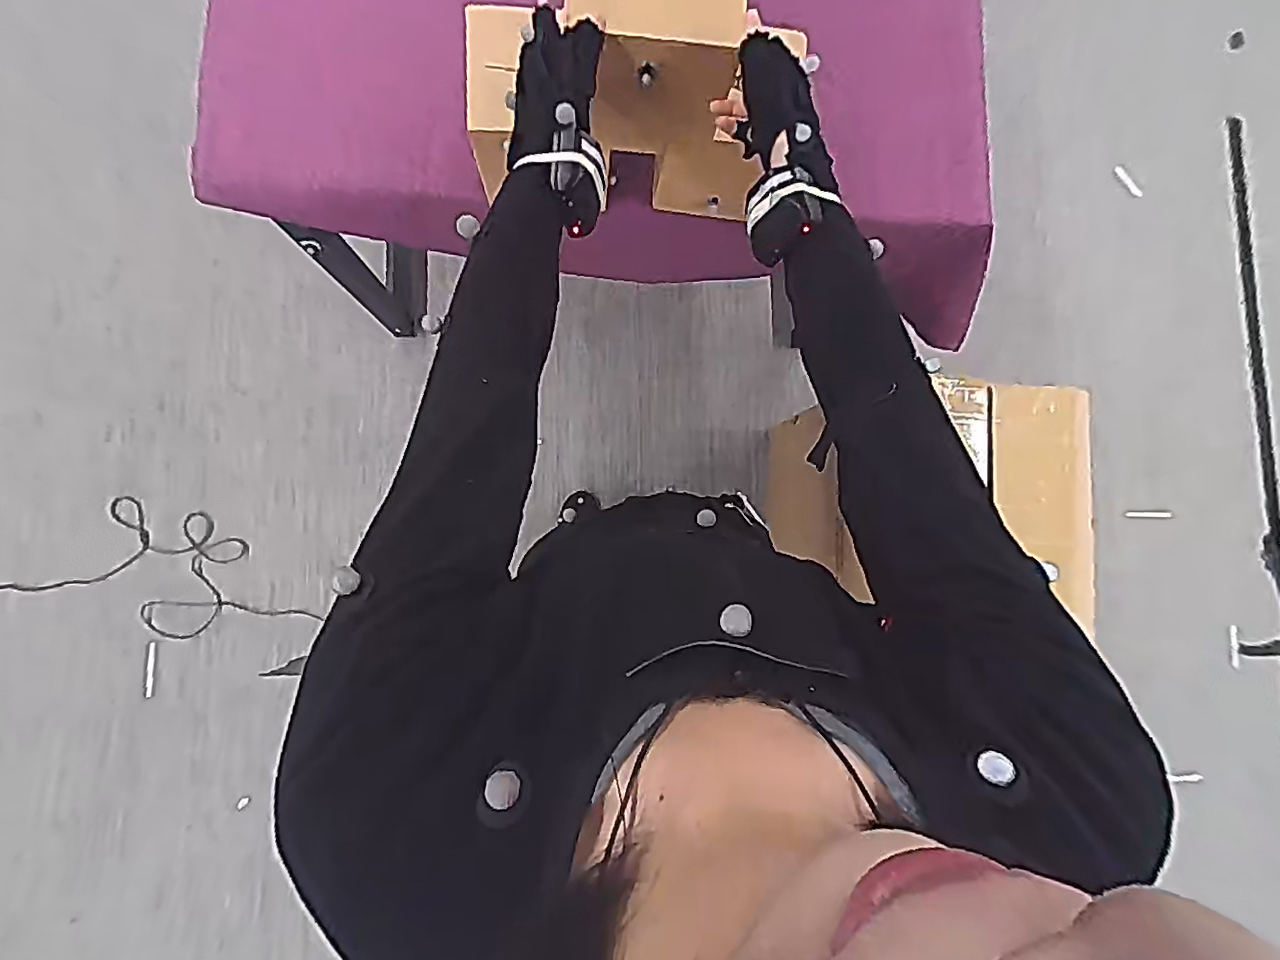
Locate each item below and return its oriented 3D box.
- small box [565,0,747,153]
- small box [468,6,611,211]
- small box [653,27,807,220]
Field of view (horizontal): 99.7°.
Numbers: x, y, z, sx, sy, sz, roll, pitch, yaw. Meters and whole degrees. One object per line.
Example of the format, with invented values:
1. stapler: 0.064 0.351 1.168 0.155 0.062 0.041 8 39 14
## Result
1. small box: 0.010 -0.494 0.596 0.179 0.176 0.168 1 87 -7
2. small box: -0.130 -0.495 0.745 0.179 0.176 0.168 -1 85 -5
3. small box: 0.119 -0.498 0.772 0.179 0.176 0.168 4 84 -5
